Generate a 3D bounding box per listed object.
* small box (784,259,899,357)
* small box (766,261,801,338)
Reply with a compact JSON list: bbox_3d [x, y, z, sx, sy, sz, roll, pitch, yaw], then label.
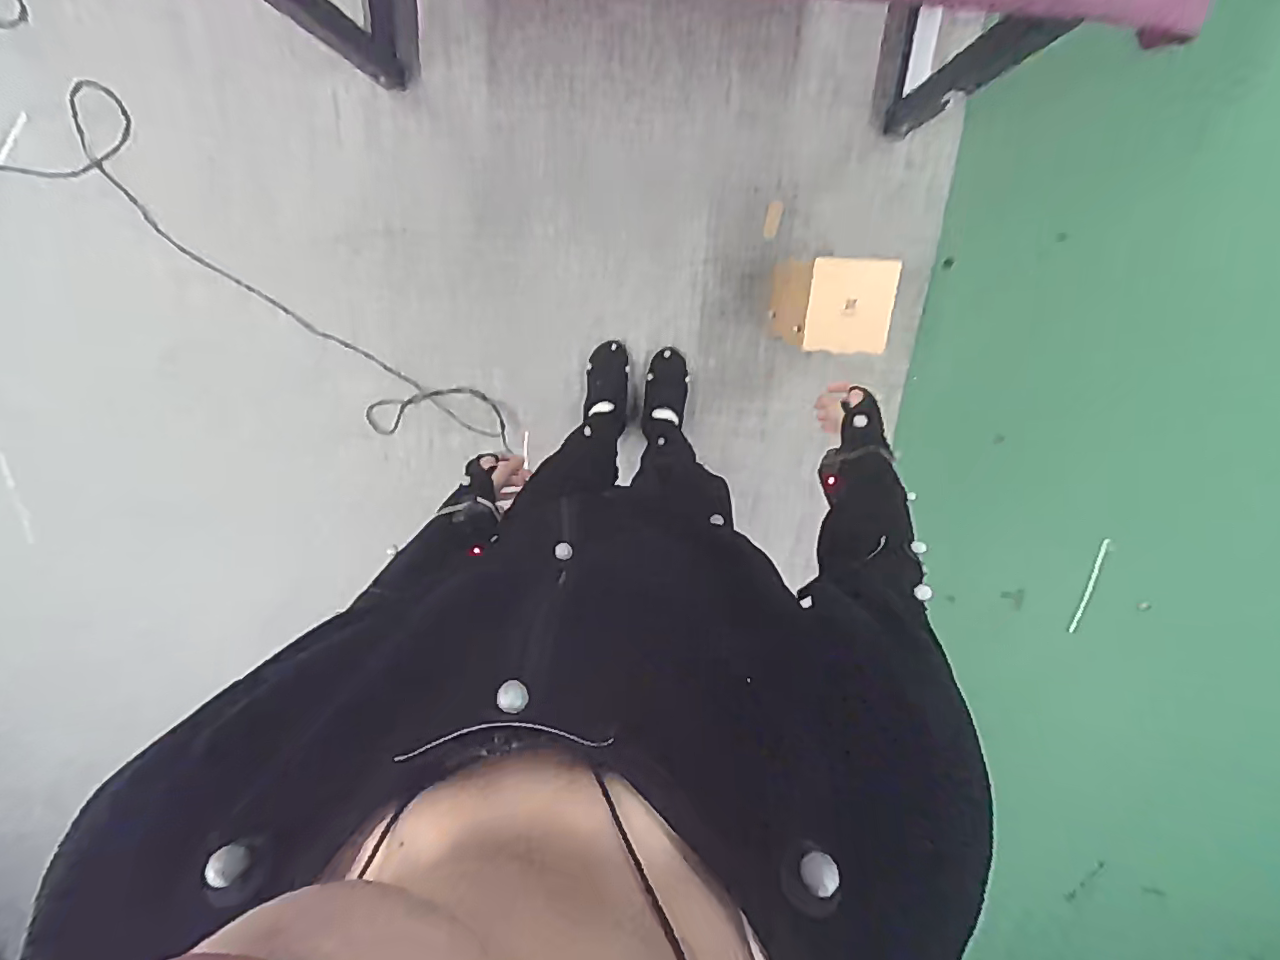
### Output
[{"bbox_3d":[0.405,-0.358,1.119,0.168,0.176,0.179,3,111,1],"label":"small box"},{"bbox_3d":[0.405,-0.414,1.270,0.179,0.176,0.168,5,110,-1],"label":"small box"}]
